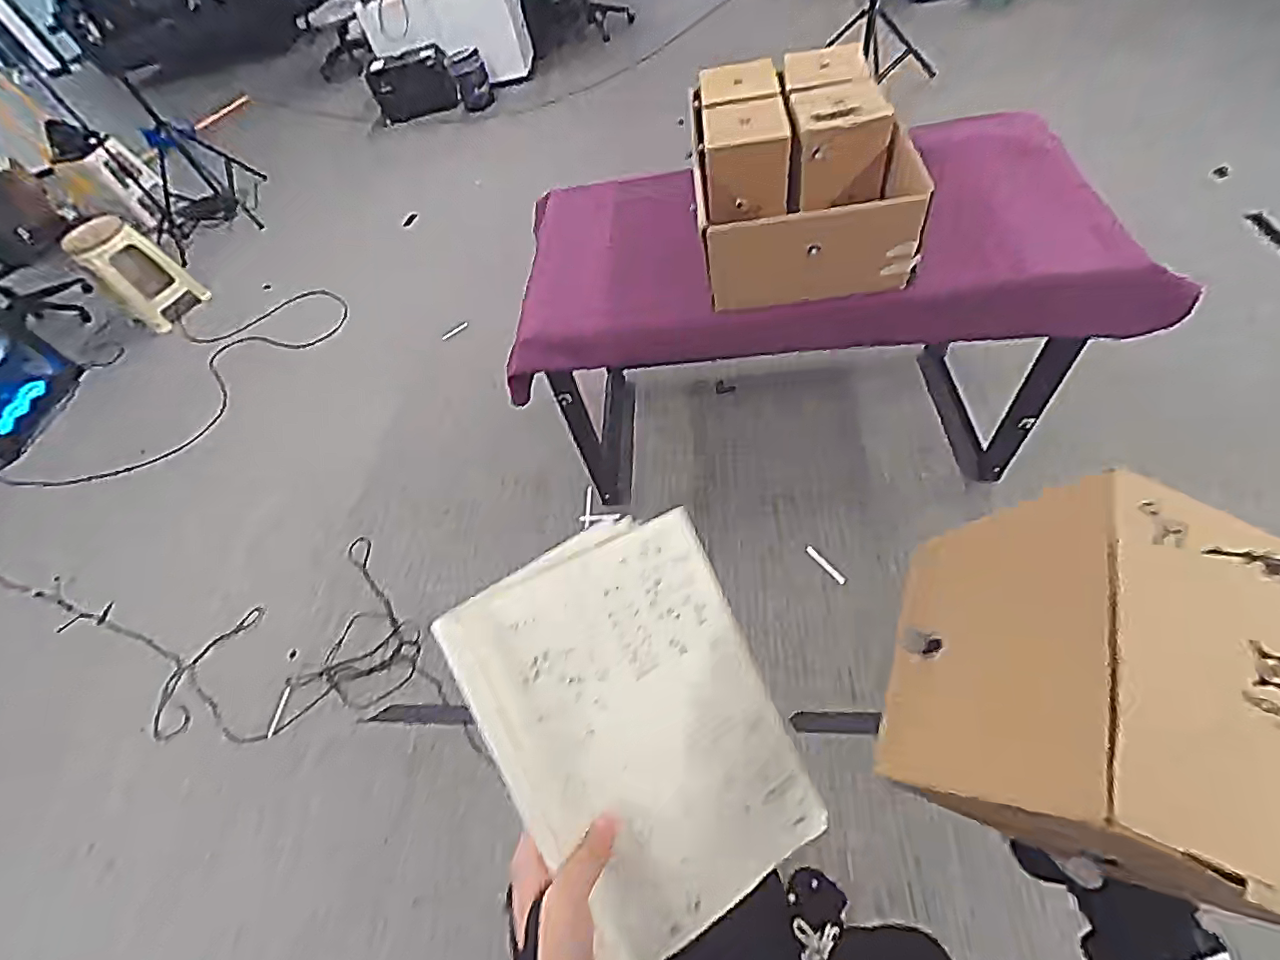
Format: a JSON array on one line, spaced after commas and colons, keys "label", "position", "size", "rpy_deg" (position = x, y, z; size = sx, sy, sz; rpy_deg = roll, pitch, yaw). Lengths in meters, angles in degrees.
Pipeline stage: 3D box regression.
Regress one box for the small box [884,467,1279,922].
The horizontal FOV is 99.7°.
[{"label": "small box", "position": [0.274, 0.126, 0.322], "size": [0.168, 0.176, 0.179], "rpy_deg": [24, 65, -1]}]
